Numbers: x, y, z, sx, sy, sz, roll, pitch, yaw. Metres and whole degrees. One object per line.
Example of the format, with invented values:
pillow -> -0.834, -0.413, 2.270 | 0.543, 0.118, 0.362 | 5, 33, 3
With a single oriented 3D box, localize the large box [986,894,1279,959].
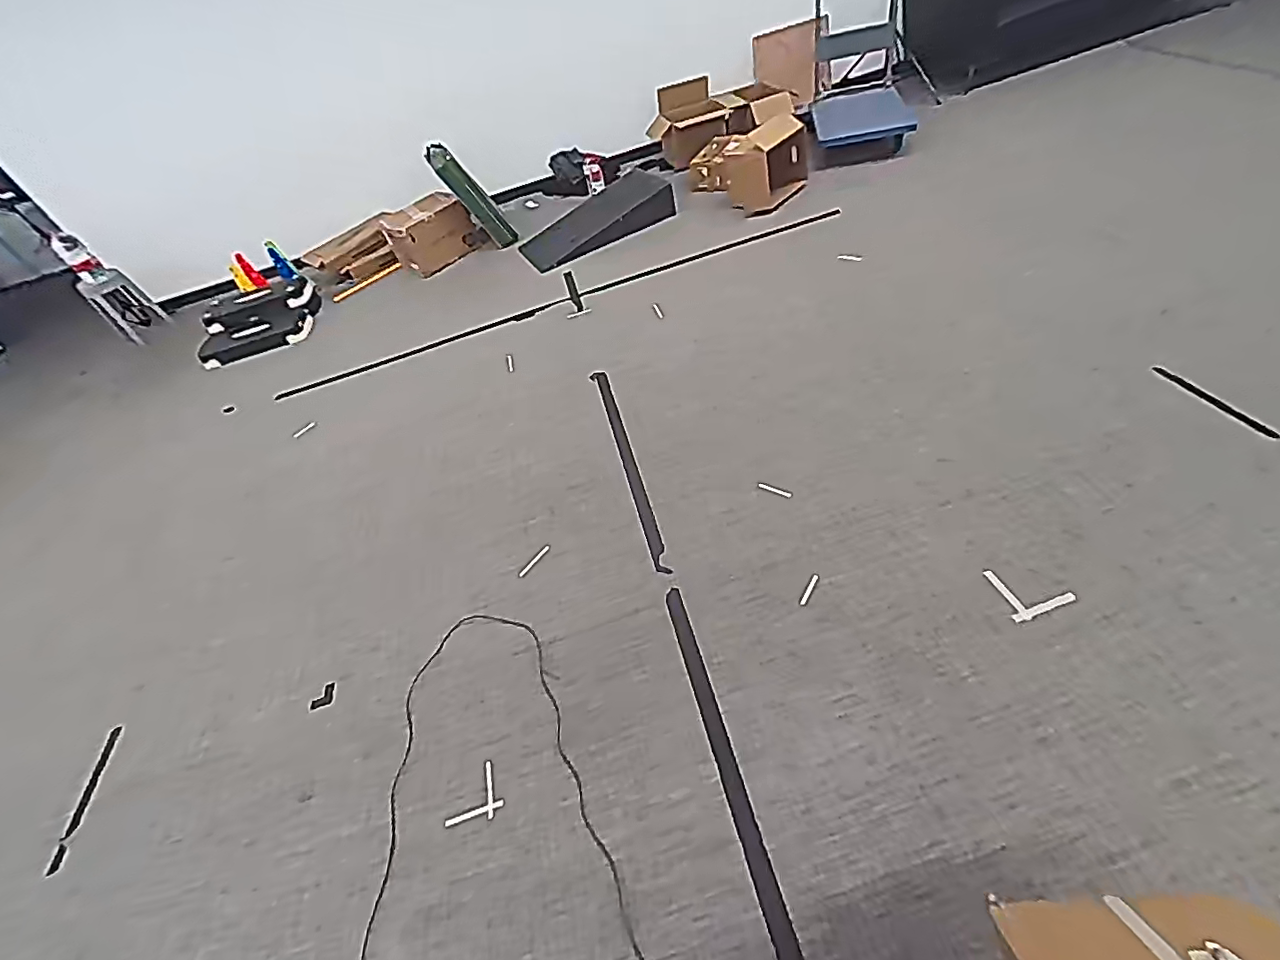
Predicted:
large box -> 0.632, 0.708, 0.535 | 0.320, 0.408, 0.320 | -12, 79, 11
